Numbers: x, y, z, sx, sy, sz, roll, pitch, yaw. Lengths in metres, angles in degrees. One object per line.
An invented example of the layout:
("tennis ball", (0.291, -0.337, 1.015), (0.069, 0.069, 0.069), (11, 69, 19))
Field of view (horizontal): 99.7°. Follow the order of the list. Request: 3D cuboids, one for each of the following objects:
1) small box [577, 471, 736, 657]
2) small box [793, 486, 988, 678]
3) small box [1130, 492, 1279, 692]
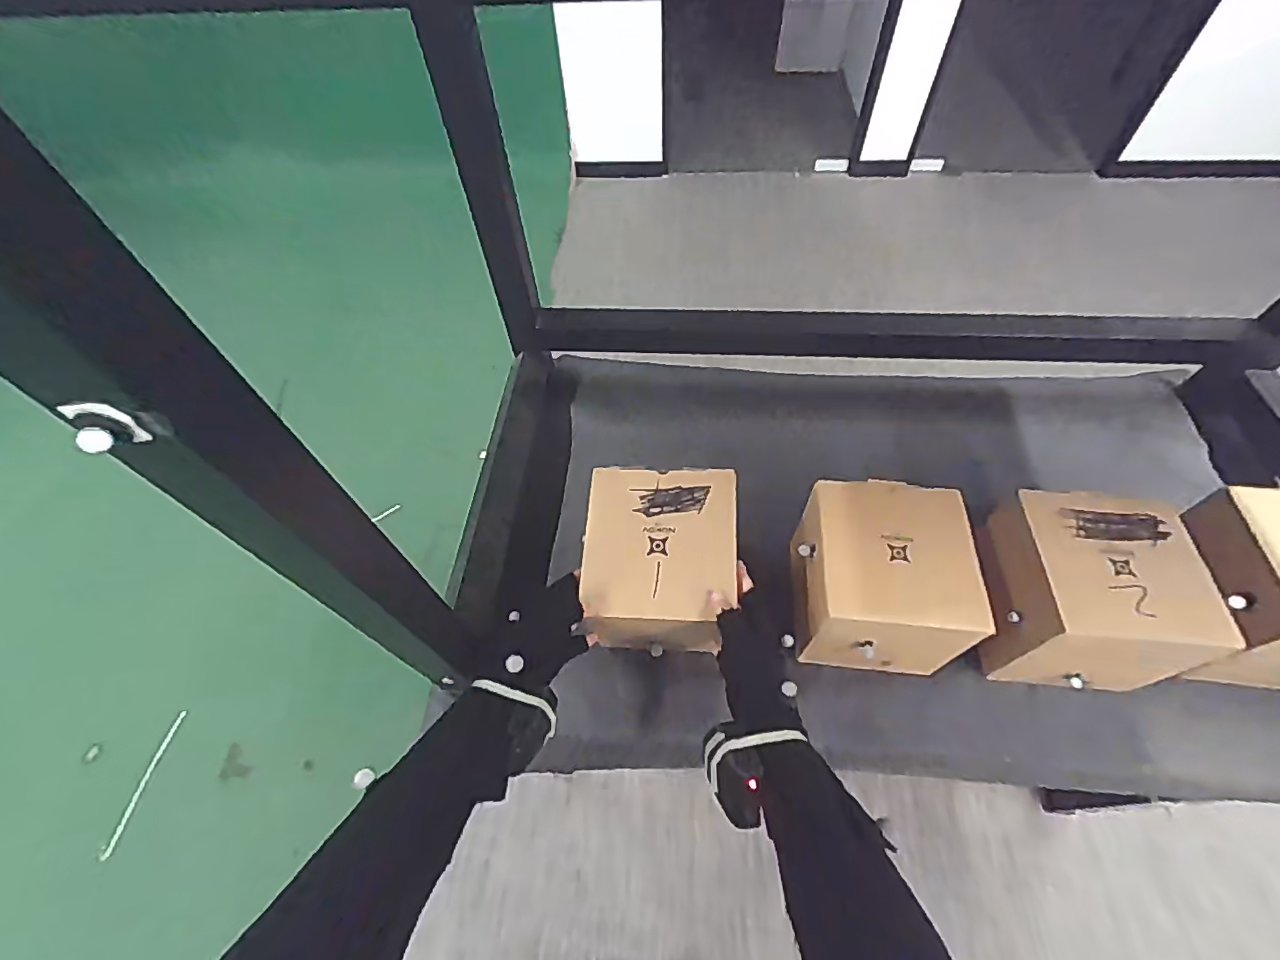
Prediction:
("small box", (0.028, 0.106, 0.657), (0.168, 0.176, 0.179), (1, 63, 7))
("small box", (0.284, 0.129, 0.660), (0.168, 0.176, 0.179), (4, 55, 7))
("small box", (0.736, 0.137, 0.626), (0.168, 0.176, 0.179), (5, 55, 7))
